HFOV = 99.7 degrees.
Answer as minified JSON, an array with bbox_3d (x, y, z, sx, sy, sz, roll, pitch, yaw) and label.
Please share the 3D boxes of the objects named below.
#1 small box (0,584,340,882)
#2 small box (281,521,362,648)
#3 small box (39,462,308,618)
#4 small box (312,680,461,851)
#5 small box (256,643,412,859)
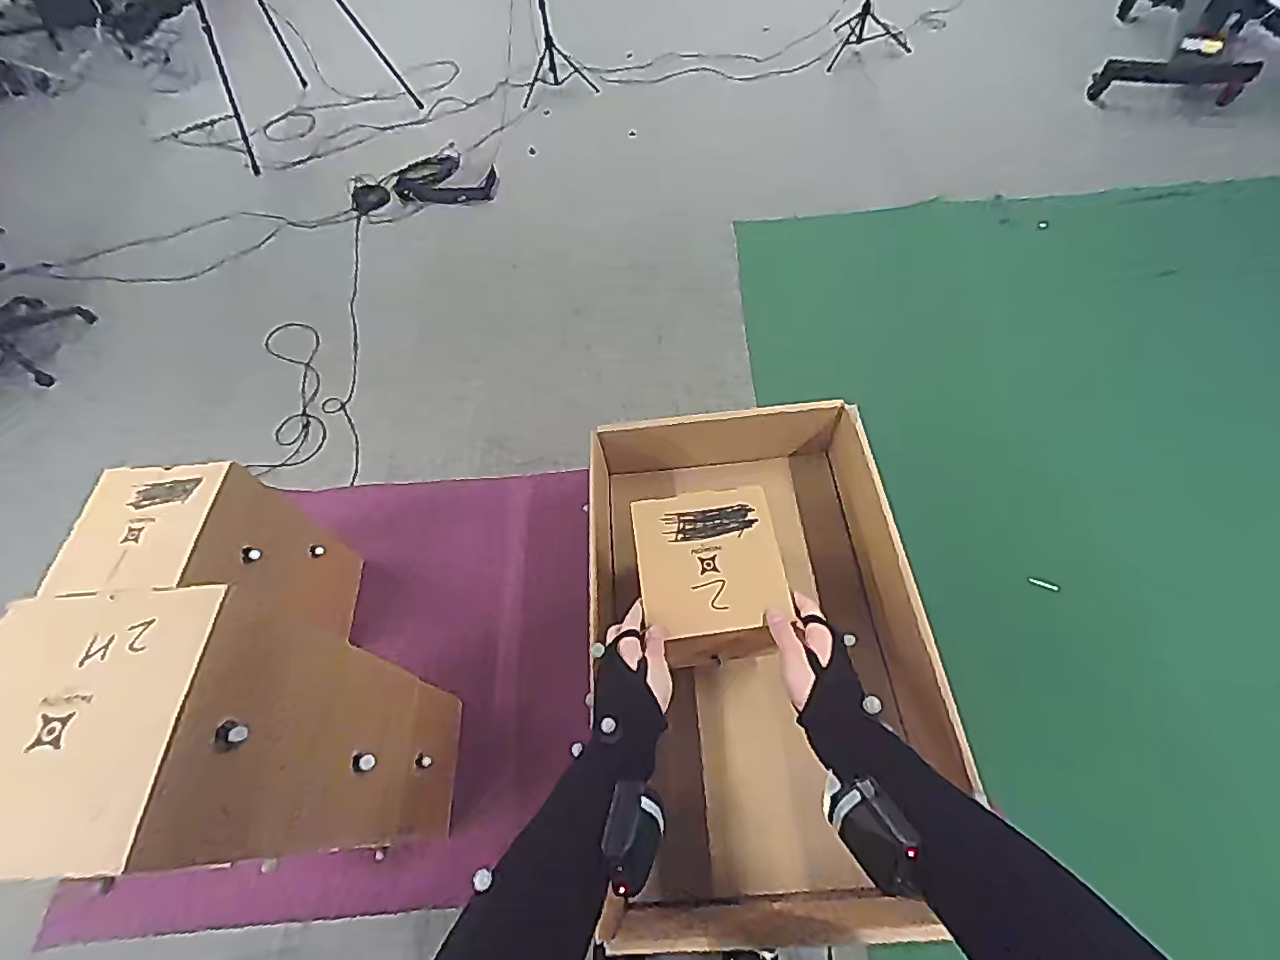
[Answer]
[{"bbox_3d":[-0.368,0.194,0.419,0.168,0.176,0.179,-3,58,2],"label":"small box"},{"bbox_3d":[-0.558,0.184,0.830,0.168,0.176,0.179,-7,58,2],"label":"small box"},{"bbox_3d":[-0.565,0.096,0.690,0.168,0.176,0.179,-3,60,4],"label":"small box"},{"bbox_3d":[-0.346,0.368,0.697,0.168,0.176,0.179,-4,58,2],"label":"small box"},{"bbox_3d":[-0.358,0.281,0.560,0.168,0.176,0.179,-5,59,2],"label":"small box"}]
